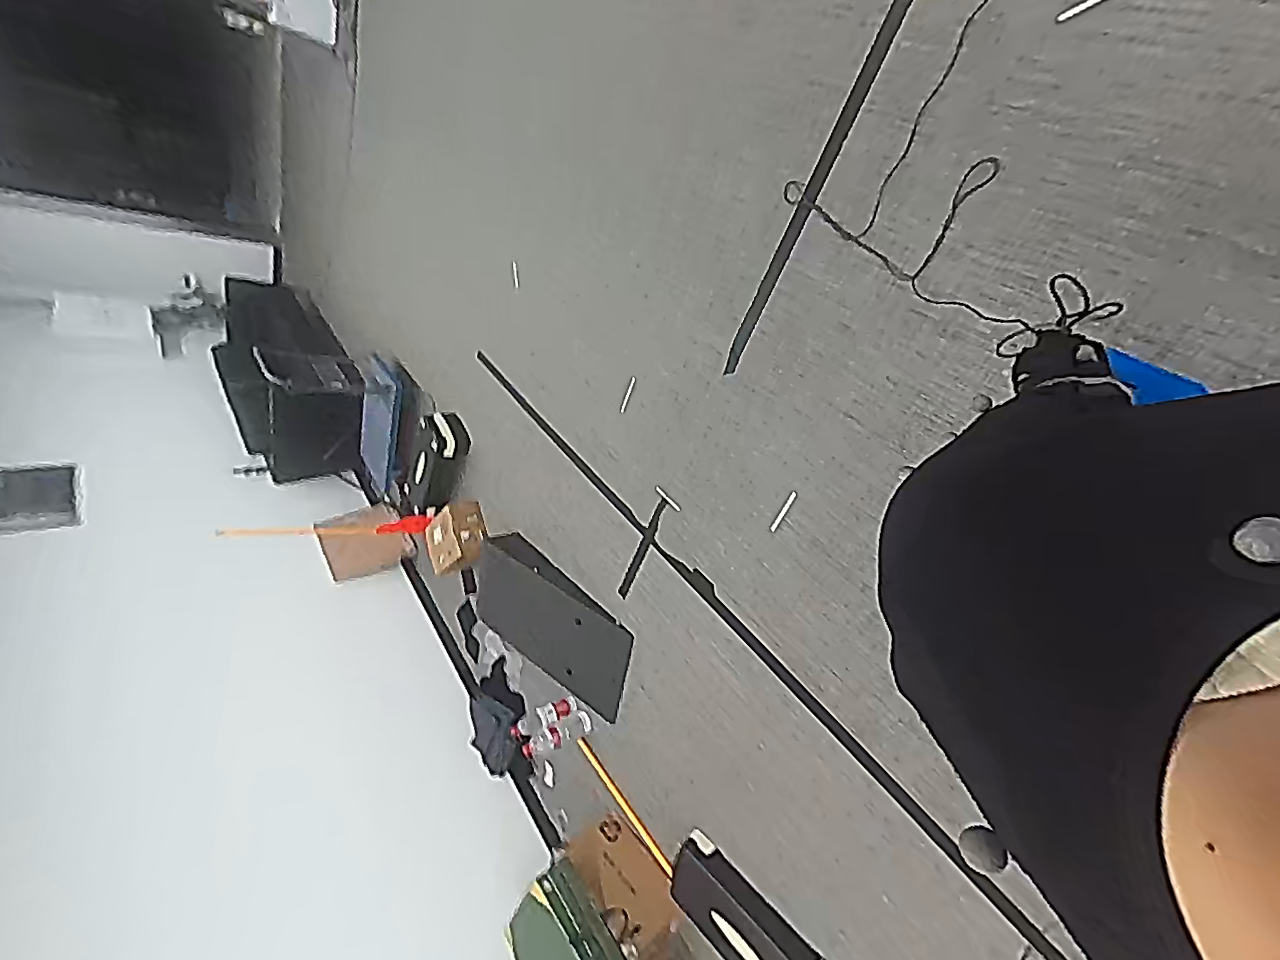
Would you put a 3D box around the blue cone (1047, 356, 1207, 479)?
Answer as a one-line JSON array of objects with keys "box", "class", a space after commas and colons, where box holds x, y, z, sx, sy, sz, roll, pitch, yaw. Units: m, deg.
[{"box": [0.799, -0.102, 0.926, 0.192, 0.380, 0.193, 46, 127, 32], "class": "blue cone"}]
